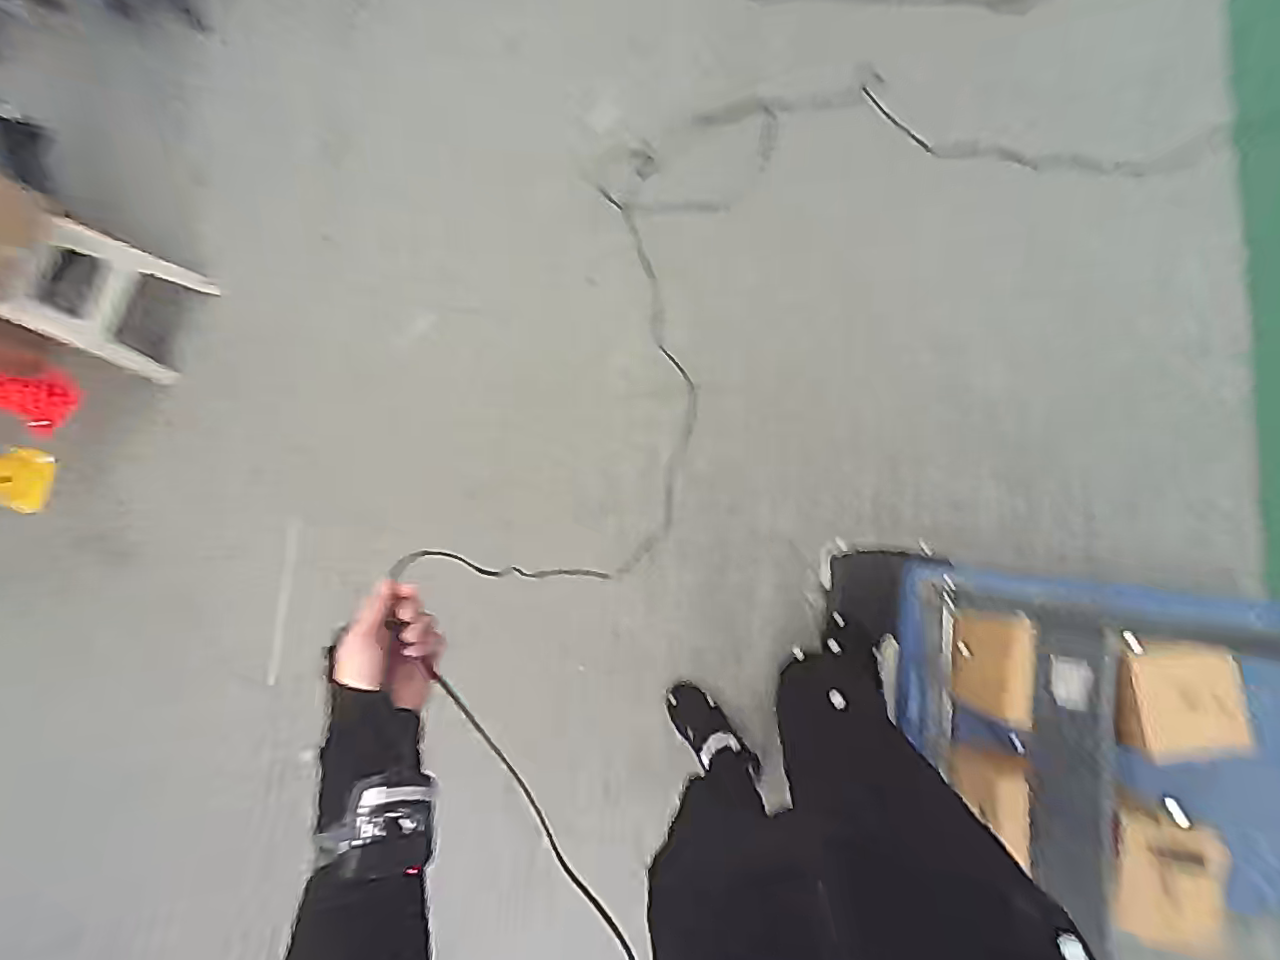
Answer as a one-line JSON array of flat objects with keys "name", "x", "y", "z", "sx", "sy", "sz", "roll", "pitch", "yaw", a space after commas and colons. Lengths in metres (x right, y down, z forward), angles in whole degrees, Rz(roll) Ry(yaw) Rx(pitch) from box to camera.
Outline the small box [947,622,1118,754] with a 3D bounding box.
[{"name": "small box", "x": 0.688, "y": 0.358, "z": 0.962, "sx": 0.179, "sy": 0.176, "sz": 0.168, "roll": 11, "pitch": 83, "yaw": 2}]

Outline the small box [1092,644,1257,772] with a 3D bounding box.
[{"name": "small box", "x": 0.900, "y": 0.394, "z": 0.958, "sx": 0.179, "sy": 0.176, "sz": 0.168, "roll": -5, "pitch": 83, "yaw": -1}]
